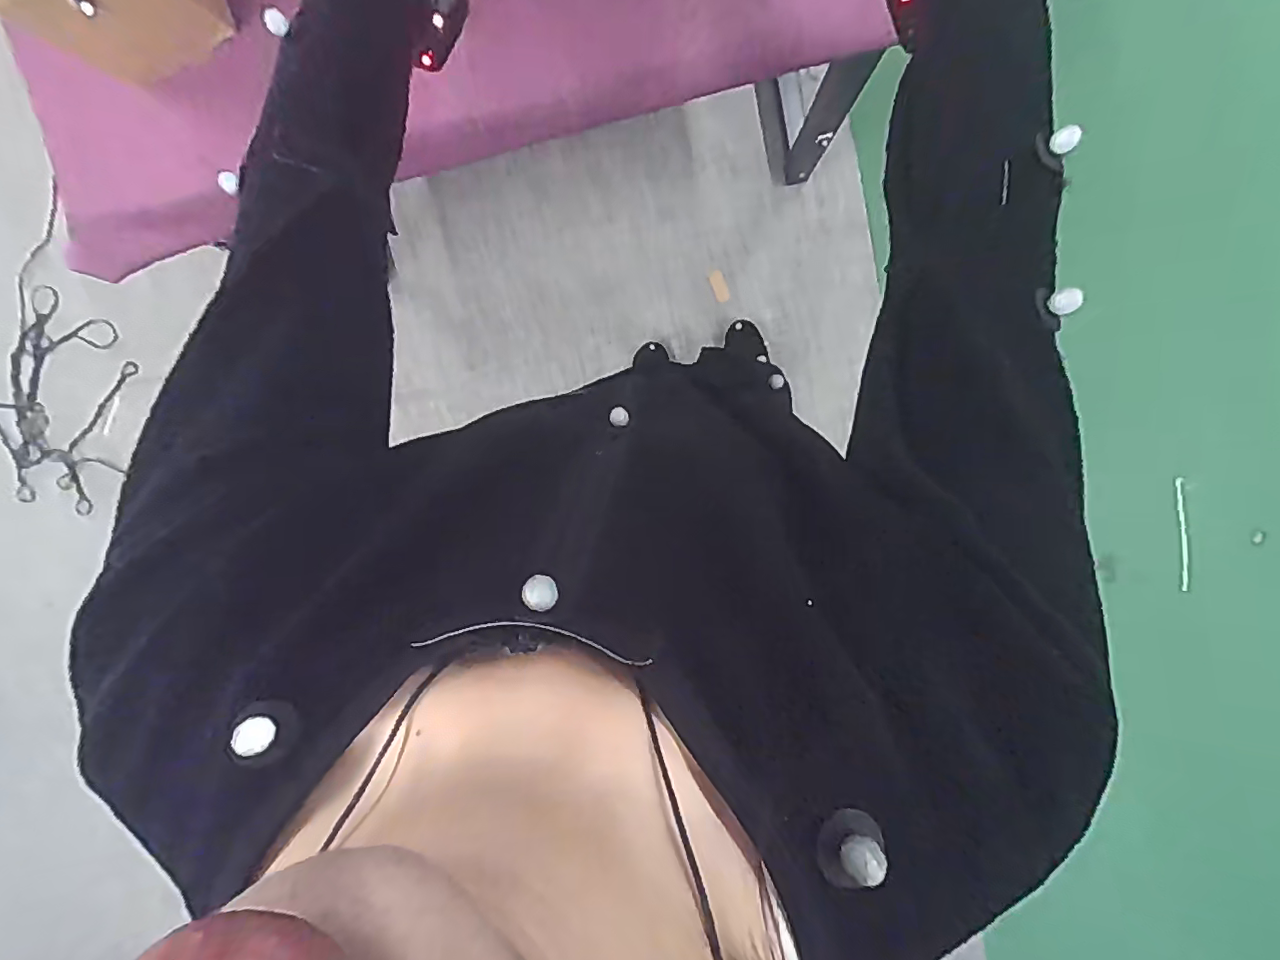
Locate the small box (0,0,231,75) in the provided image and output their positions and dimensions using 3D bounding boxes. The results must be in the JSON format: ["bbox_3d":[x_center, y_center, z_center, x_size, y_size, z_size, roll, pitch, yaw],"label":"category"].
[{"bbox_3d":[-0.635,-0.617,0.621,0.179,0.176,0.168,-16,100,7],"label":"small box"}]
